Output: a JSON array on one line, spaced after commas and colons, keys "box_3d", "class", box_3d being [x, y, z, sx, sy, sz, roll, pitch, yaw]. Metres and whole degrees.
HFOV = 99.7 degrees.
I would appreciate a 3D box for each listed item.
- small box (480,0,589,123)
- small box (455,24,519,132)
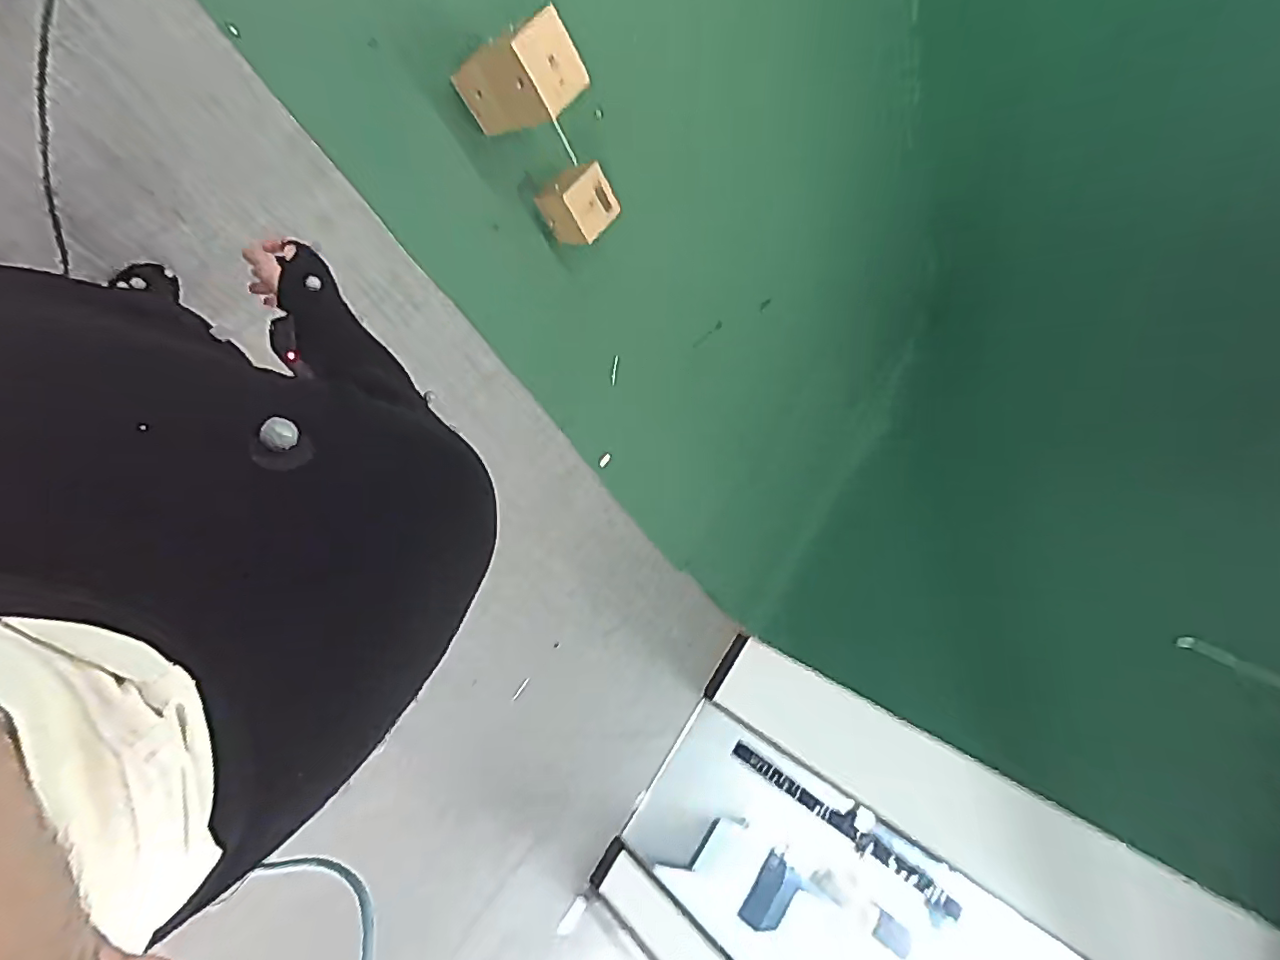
[{"box_3d": [-0.270, -1.049, 1.371, 0.168, 0.176, 0.179, -55, 136, -15], "class": "small box"}, {"box_3d": [-0.379, -1.096, 1.485, 0.179, 0.176, 0.168, -55, 136, -15], "class": "small box"}]
